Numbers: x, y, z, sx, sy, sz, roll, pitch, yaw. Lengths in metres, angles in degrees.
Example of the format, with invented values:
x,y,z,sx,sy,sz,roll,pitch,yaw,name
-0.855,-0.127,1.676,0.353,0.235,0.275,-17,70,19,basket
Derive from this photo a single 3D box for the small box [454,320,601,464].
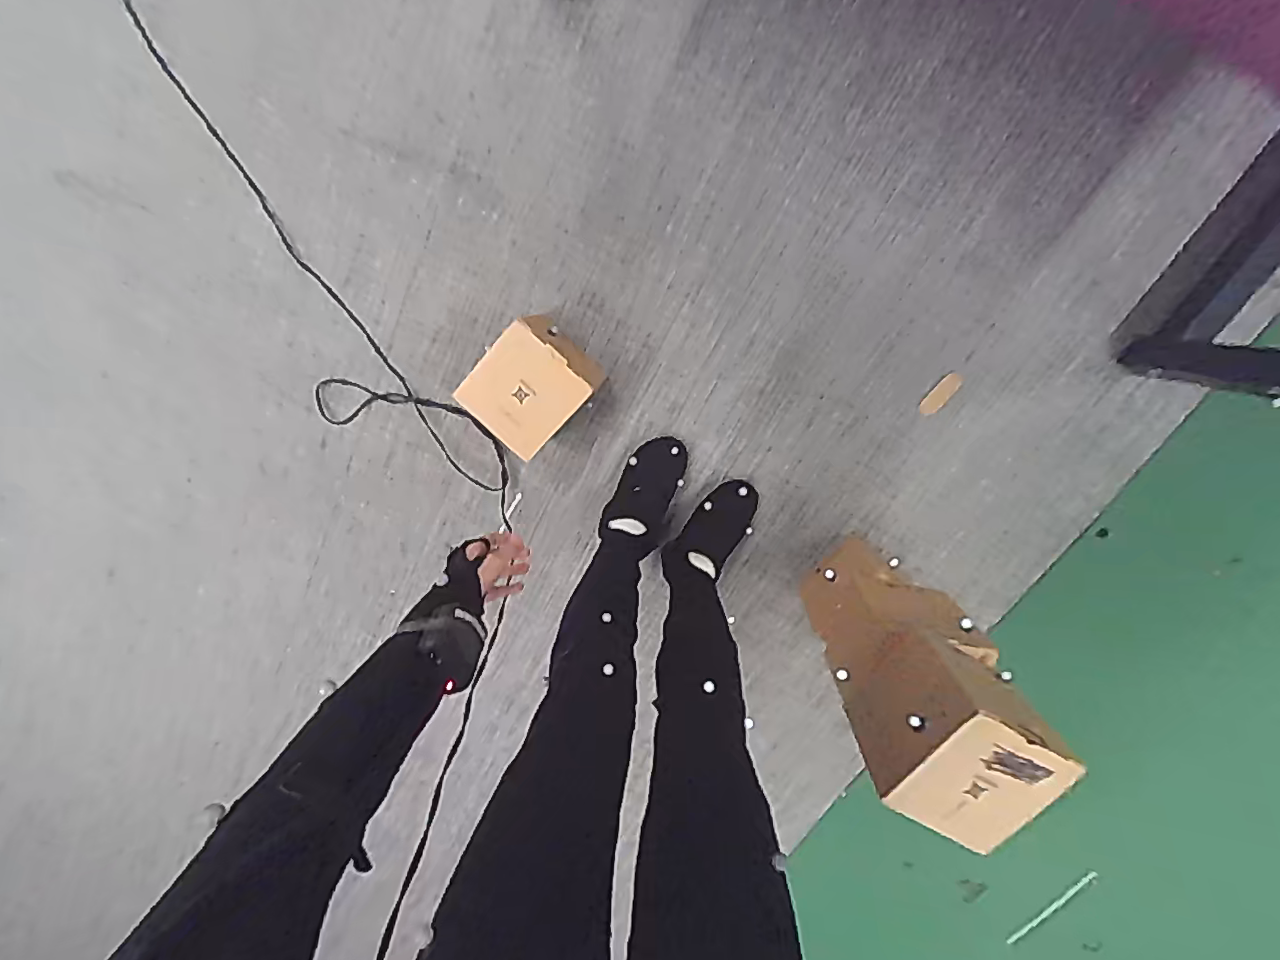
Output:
x,y,z,sx,sy,sz,roll,pitch,yaw,name
-0.183,-0.162,0.944,0.168,0.176,0.179,44,107,-10,small box

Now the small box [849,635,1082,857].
x,y,z,sx,sy,sz,roll,pitch,yaw,name
0.412,0.344,0.724,0.168,0.176,0.179,30,109,-7,small box

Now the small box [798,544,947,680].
x,y,z,sx,sy,sz,roll,pitch,yaw,name
0.431,0.245,1.038,0.179,0.176,0.168,39,107,-8,small box
